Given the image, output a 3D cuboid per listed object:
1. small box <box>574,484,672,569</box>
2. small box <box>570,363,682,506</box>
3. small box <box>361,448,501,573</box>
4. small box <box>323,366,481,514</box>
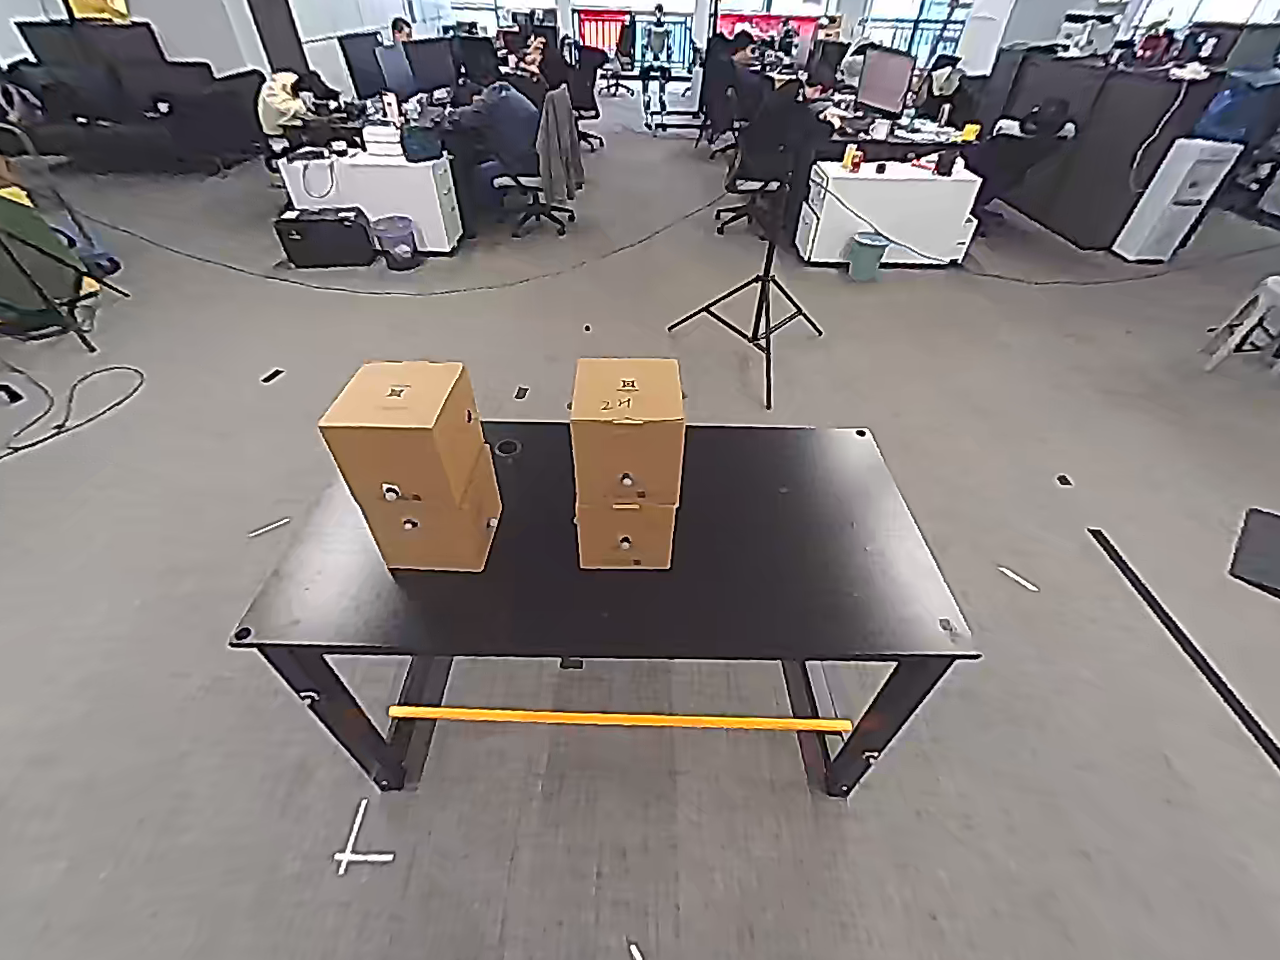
[{"bbox_3d":[-0.028,0.050,1.000,0.168,0.176,0.179,0,42,-1],"label":"small box"},{"bbox_3d":[-0.022,-0.077,0.893,0.168,0.176,0.179,0,42,-1],"label":"small box"},{"bbox_3d":[-0.366,0.053,0.984,0.179,0.176,0.168,3,42,0],"label":"small box"},{"bbox_3d":[-0.365,-0.066,0.874,0.168,0.176,0.179,0,43,1],"label":"small box"}]
